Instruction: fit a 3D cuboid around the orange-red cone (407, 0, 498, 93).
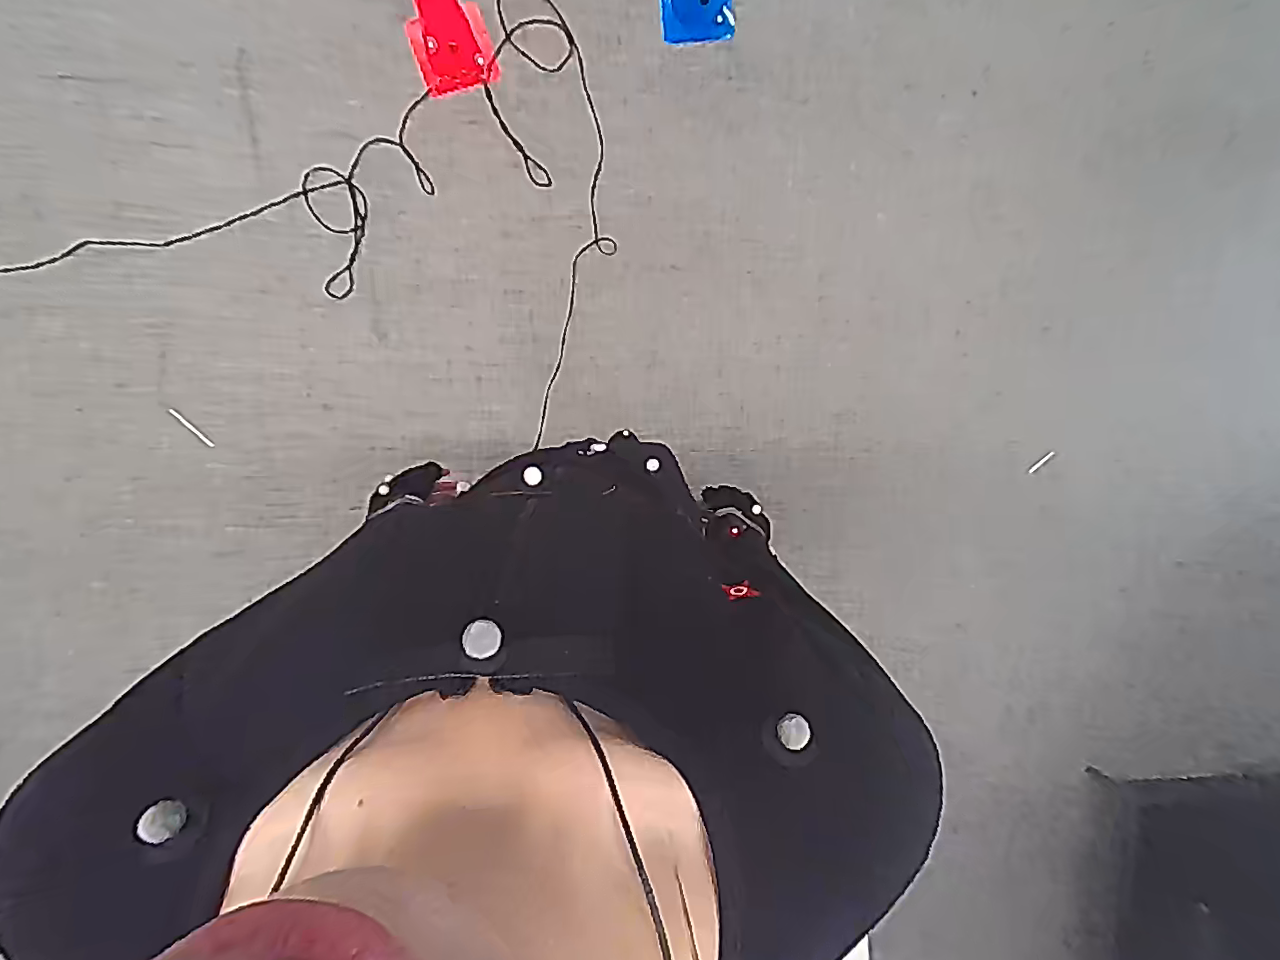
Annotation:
[{"bbox_3d":[-0.471,-1.113,1.235,0.198,0.360,0.199,-19,94,-4],"label":"orange-red cone"}]
